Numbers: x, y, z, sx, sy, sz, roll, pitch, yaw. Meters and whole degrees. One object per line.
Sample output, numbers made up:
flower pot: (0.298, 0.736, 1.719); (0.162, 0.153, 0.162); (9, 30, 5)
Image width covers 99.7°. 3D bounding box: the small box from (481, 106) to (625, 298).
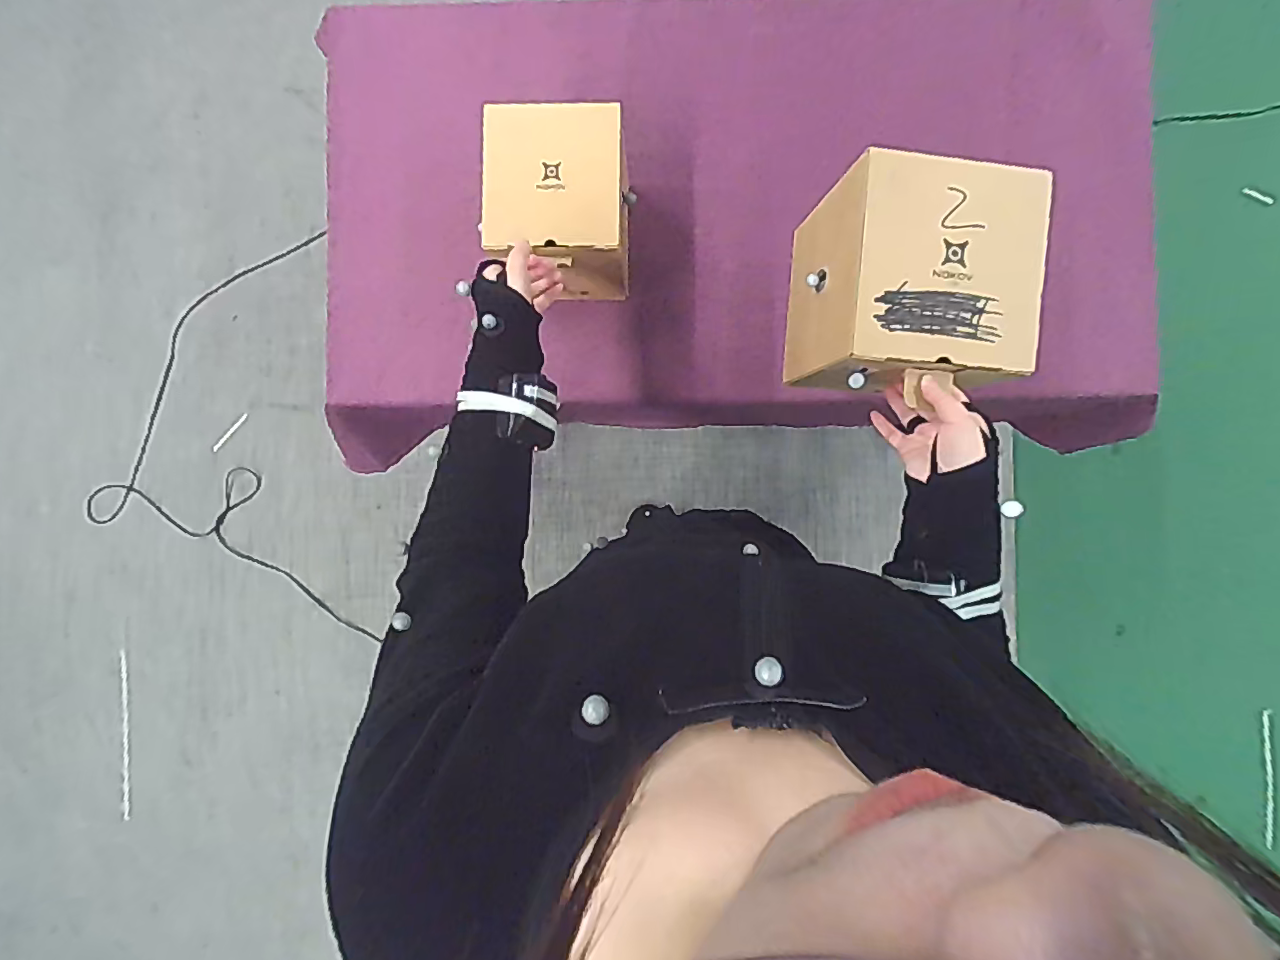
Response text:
small box: (-0.108, -0.364, 0.733); (0.168, 0.176, 0.179); (0, 89, 1)
